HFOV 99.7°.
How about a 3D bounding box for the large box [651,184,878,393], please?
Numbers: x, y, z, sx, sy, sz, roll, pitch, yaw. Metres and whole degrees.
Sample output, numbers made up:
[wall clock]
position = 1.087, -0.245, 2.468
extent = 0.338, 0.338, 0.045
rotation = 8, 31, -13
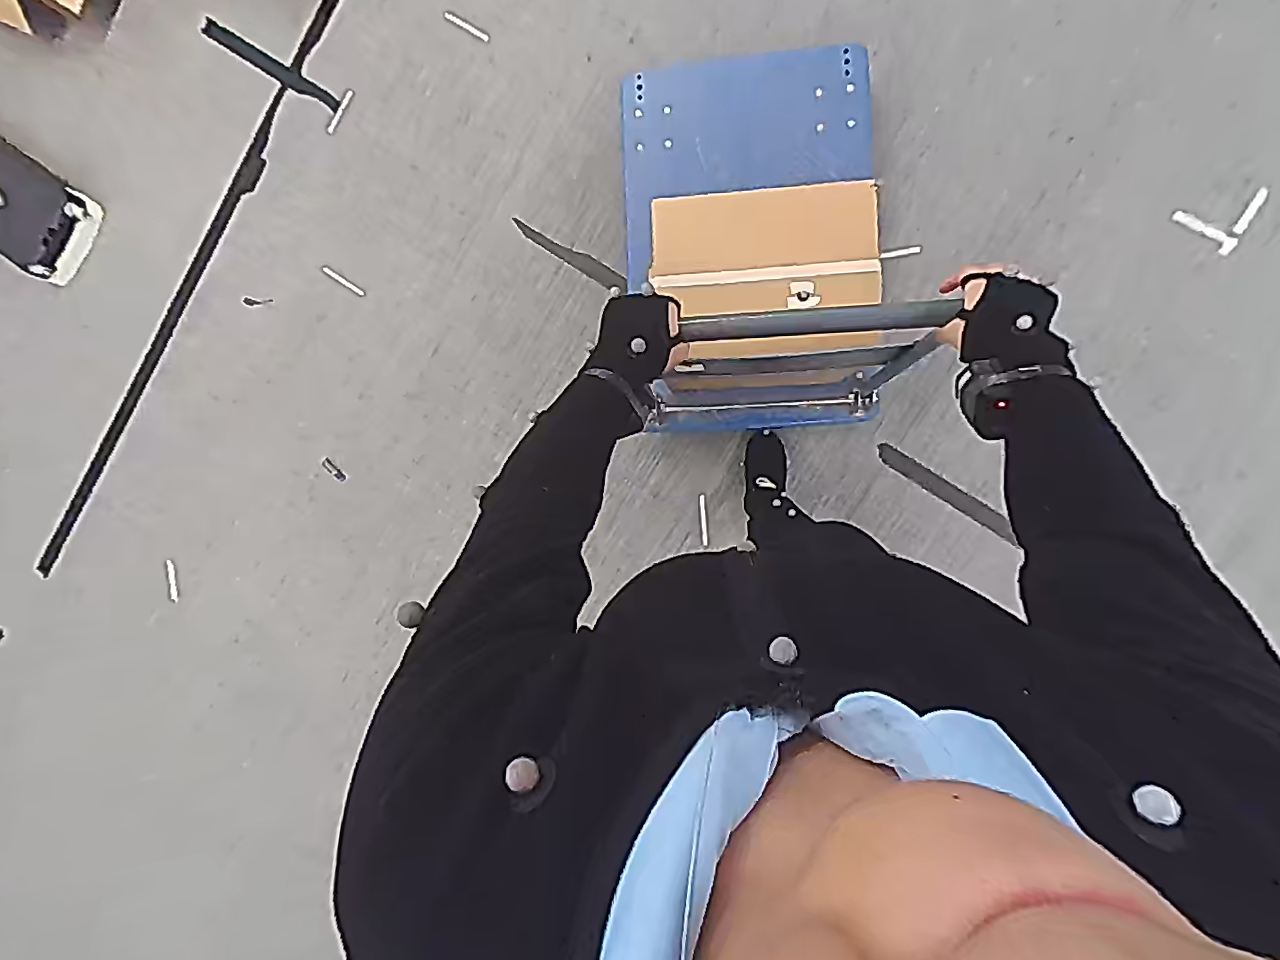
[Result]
[large box]
position = 0.238, -0.371, 1.137
extent = 0.408, 0.320, 0.320
rotation = -2, 91, 6
